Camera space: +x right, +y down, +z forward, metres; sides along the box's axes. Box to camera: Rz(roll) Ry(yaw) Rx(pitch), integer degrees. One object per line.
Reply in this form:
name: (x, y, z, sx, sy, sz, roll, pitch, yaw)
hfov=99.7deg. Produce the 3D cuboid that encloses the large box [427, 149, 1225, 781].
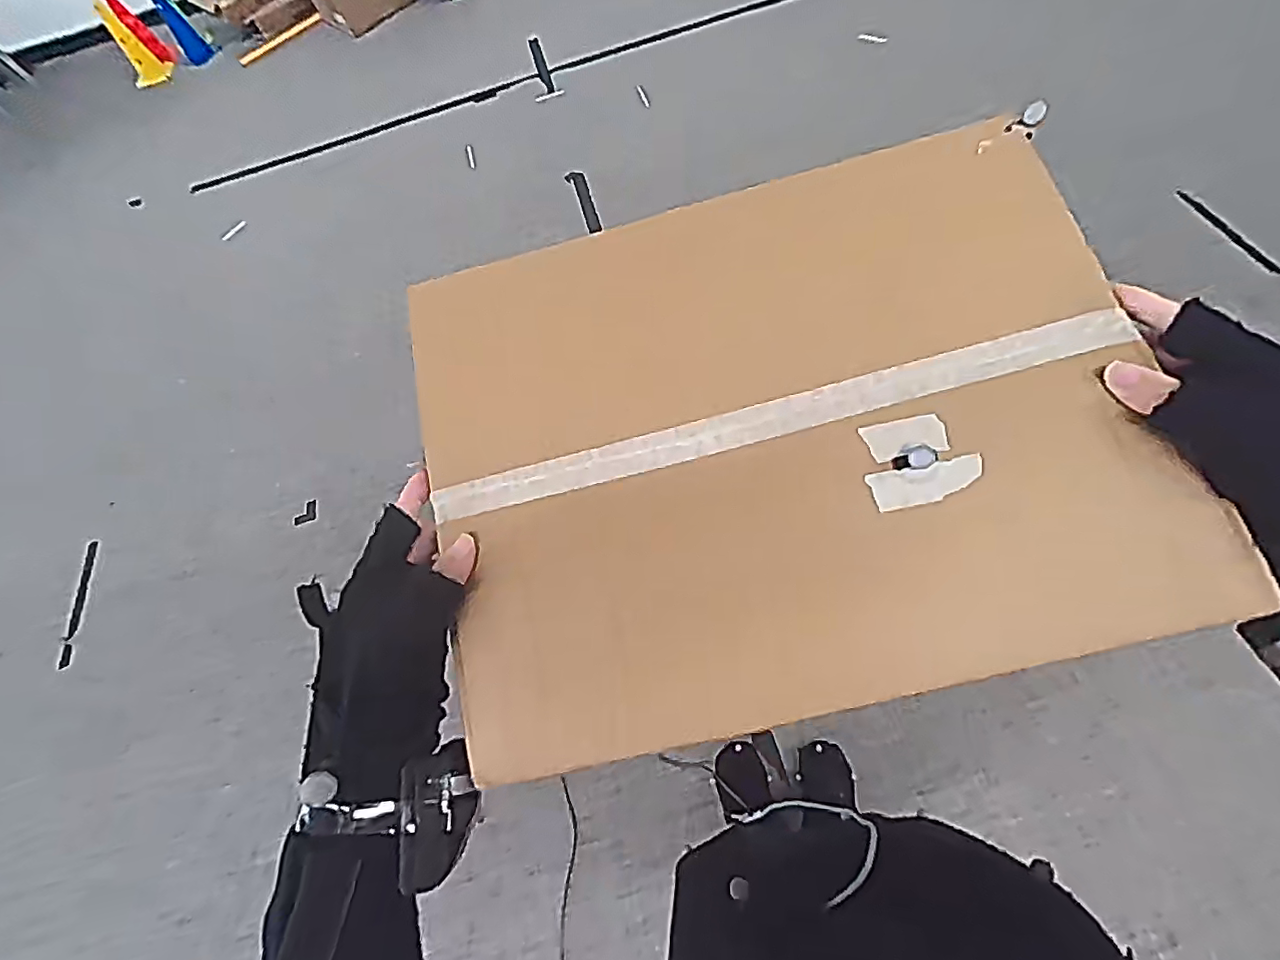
large box: (0.092, 0.011, 0.469, 0.408, 0.320, 0.320, -15, 75, 3)
